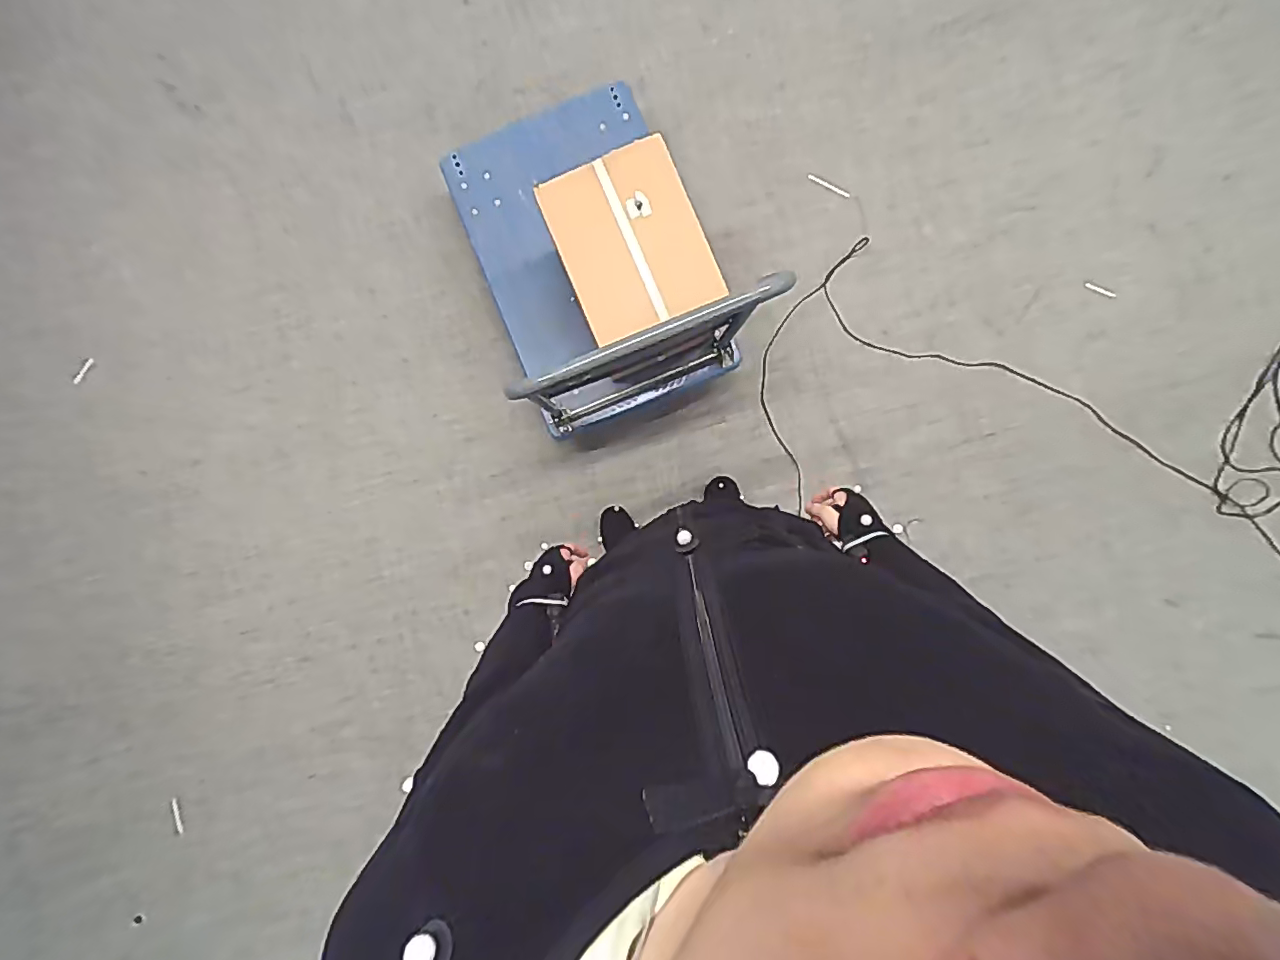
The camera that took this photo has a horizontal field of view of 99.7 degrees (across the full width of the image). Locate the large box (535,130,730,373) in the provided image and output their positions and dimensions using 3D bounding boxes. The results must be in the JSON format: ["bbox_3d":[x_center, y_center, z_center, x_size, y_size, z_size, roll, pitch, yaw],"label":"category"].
[{"bbox_3d":[-0.011,-0.534,1.344,0.320,0.320,0.408,-23,88,1],"label":"large box"}]
